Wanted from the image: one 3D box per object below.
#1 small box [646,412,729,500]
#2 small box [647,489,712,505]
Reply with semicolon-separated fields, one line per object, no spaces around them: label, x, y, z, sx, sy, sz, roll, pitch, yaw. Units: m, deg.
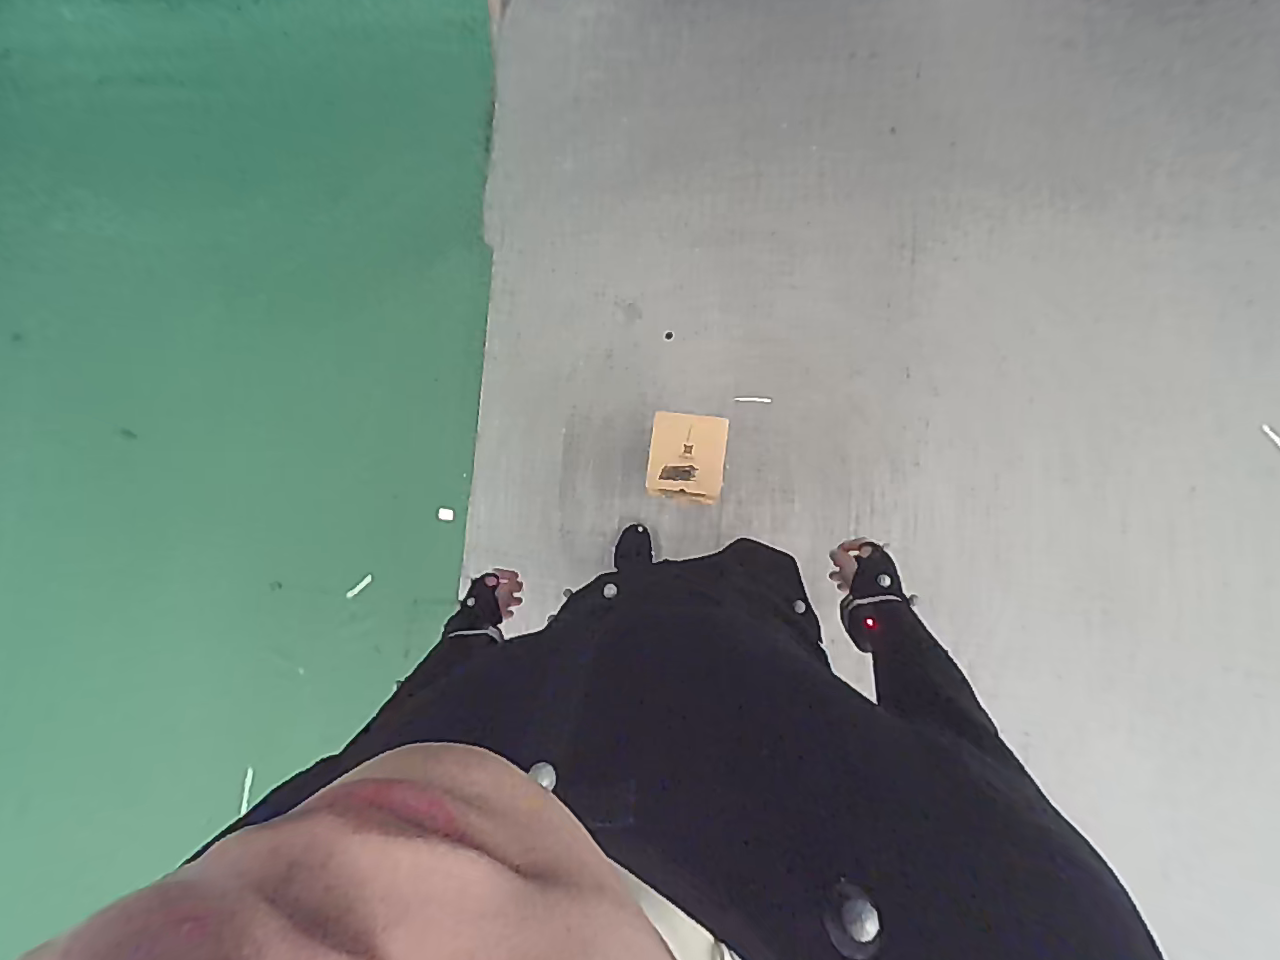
small box;0.114;-0.050;1.272;0.168;0.176;0.179;8;86;7
small box;0.121;-0.032;1.420;0.168;0.176;0.179;9;88;7
